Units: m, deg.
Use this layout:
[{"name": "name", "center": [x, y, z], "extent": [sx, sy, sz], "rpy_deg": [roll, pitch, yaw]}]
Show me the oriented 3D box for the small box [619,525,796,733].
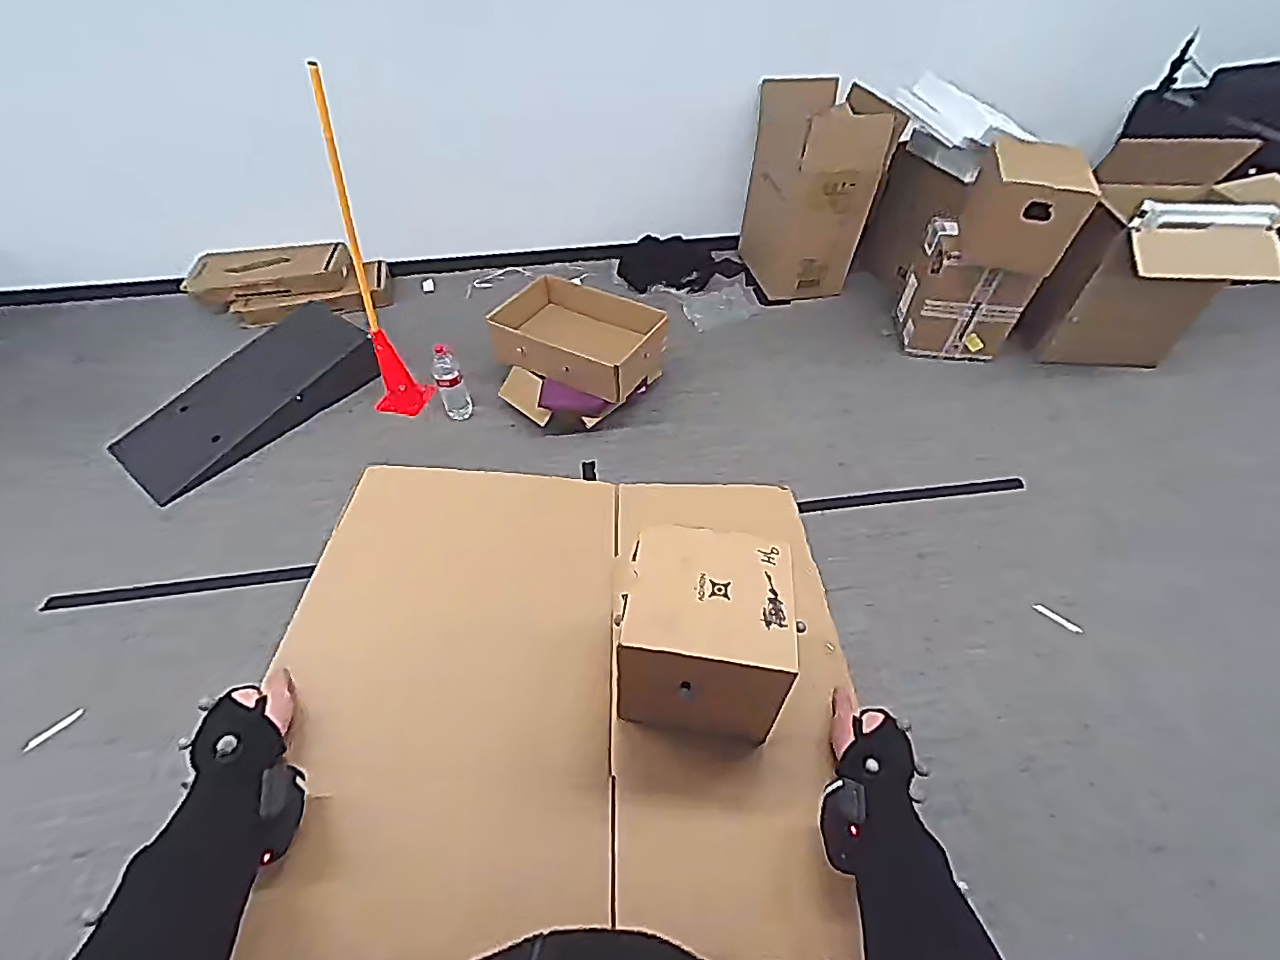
[{"name": "small box", "center": [0.076, 0.176, 0.635], "extent": [0.179, 0.176, 0.168], "rpy_deg": [6, 45, 6]}]
